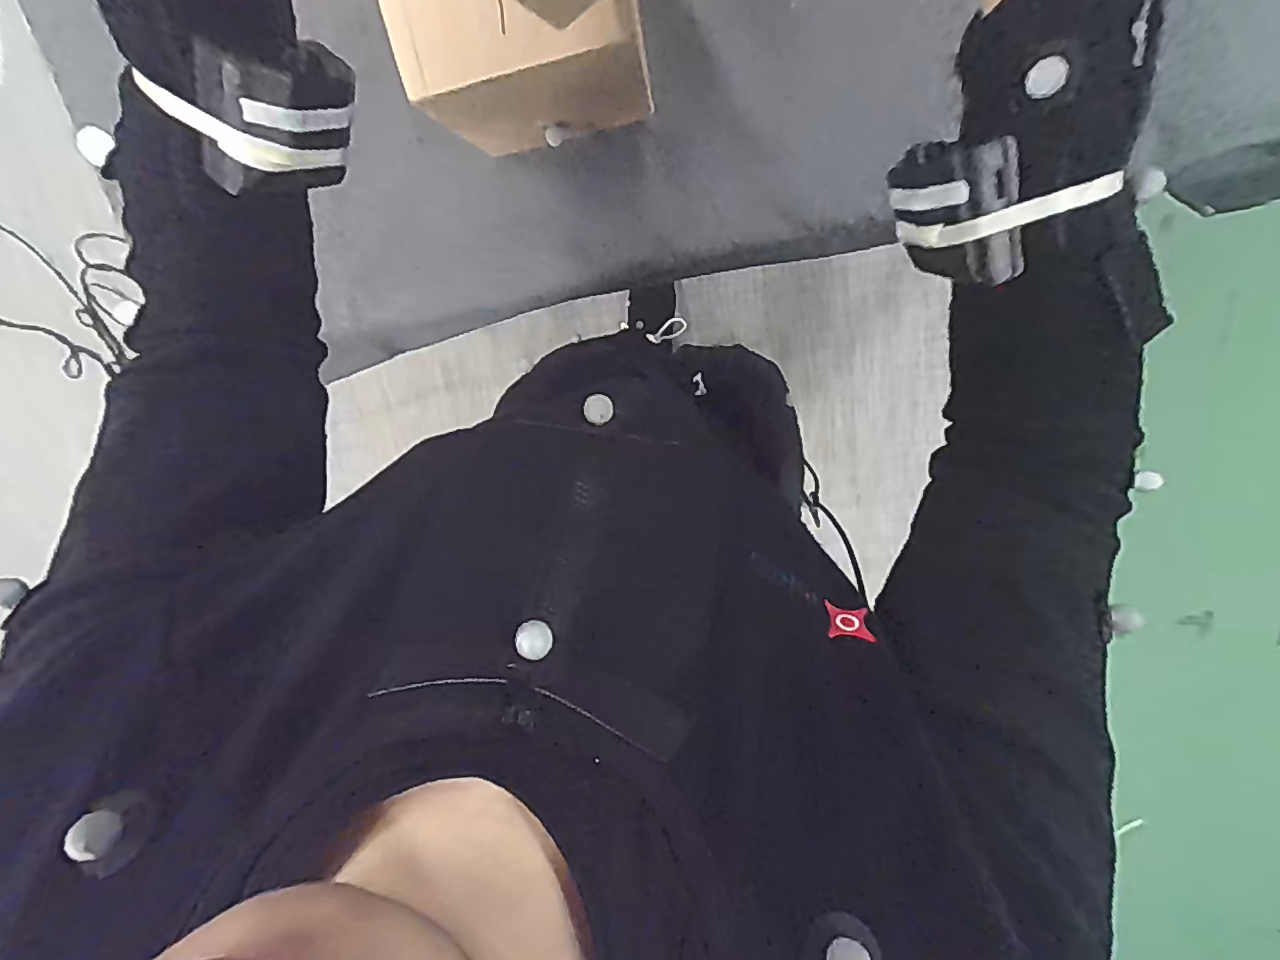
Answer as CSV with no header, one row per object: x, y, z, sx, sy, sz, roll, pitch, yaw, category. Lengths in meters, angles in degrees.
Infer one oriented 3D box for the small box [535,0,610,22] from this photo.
-0.010,-0.311,0.189,0.179,0.176,0.168,-27,121,18,small box

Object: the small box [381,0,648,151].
-0.093,-0.389,0.421,0.168,0.176,0.179,-8,108,9,small box
